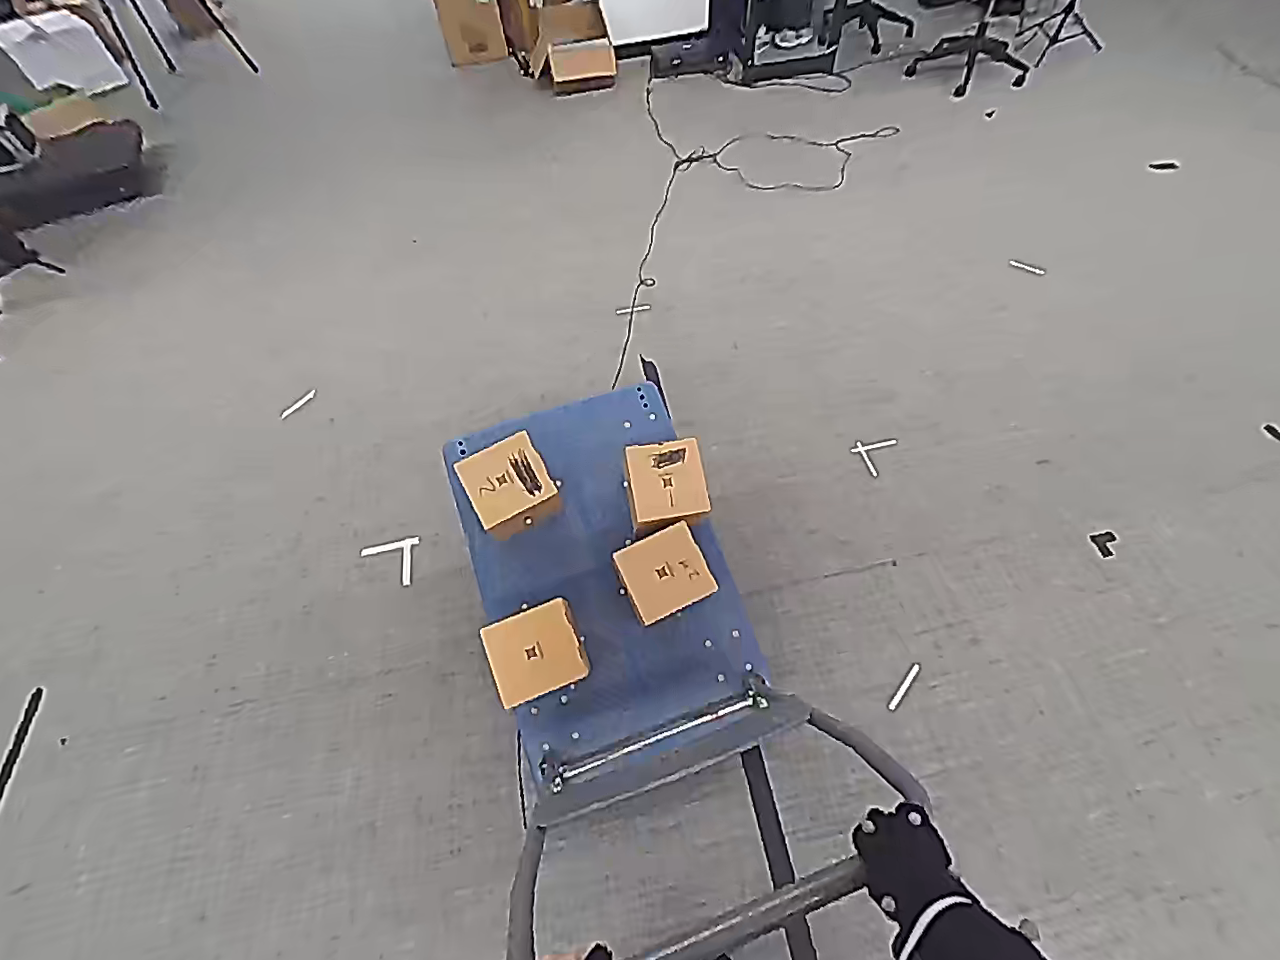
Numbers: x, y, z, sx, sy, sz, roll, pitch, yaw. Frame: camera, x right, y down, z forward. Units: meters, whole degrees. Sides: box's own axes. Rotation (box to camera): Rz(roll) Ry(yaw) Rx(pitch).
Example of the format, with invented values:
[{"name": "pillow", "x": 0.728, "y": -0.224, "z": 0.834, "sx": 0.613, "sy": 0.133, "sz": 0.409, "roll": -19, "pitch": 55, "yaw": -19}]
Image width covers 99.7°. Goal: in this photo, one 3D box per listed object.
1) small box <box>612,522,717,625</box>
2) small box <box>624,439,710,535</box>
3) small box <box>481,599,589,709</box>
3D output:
[{"name": "small box", "x": 0.050, "y": 0.217, "z": 1.215, "sx": 0.179, "sy": 0.176, "sz": 0.168, "roll": -24, "pitch": 78, "yaw": -9}, {"name": "small box", "x": 0.056, "y": 0.021, "z": 1.269, "sx": 0.168, "sy": 0.176, "sz": 0.179, "roll": -9, "pitch": 76, "yaw": -5}, {"name": "small box", "x": -0.217, "y": 0.370, "z": 1.160, "sx": 0.179, "sy": 0.176, "sz": 0.168, "roll": -21, "pitch": 77, "yaw": -10}]
